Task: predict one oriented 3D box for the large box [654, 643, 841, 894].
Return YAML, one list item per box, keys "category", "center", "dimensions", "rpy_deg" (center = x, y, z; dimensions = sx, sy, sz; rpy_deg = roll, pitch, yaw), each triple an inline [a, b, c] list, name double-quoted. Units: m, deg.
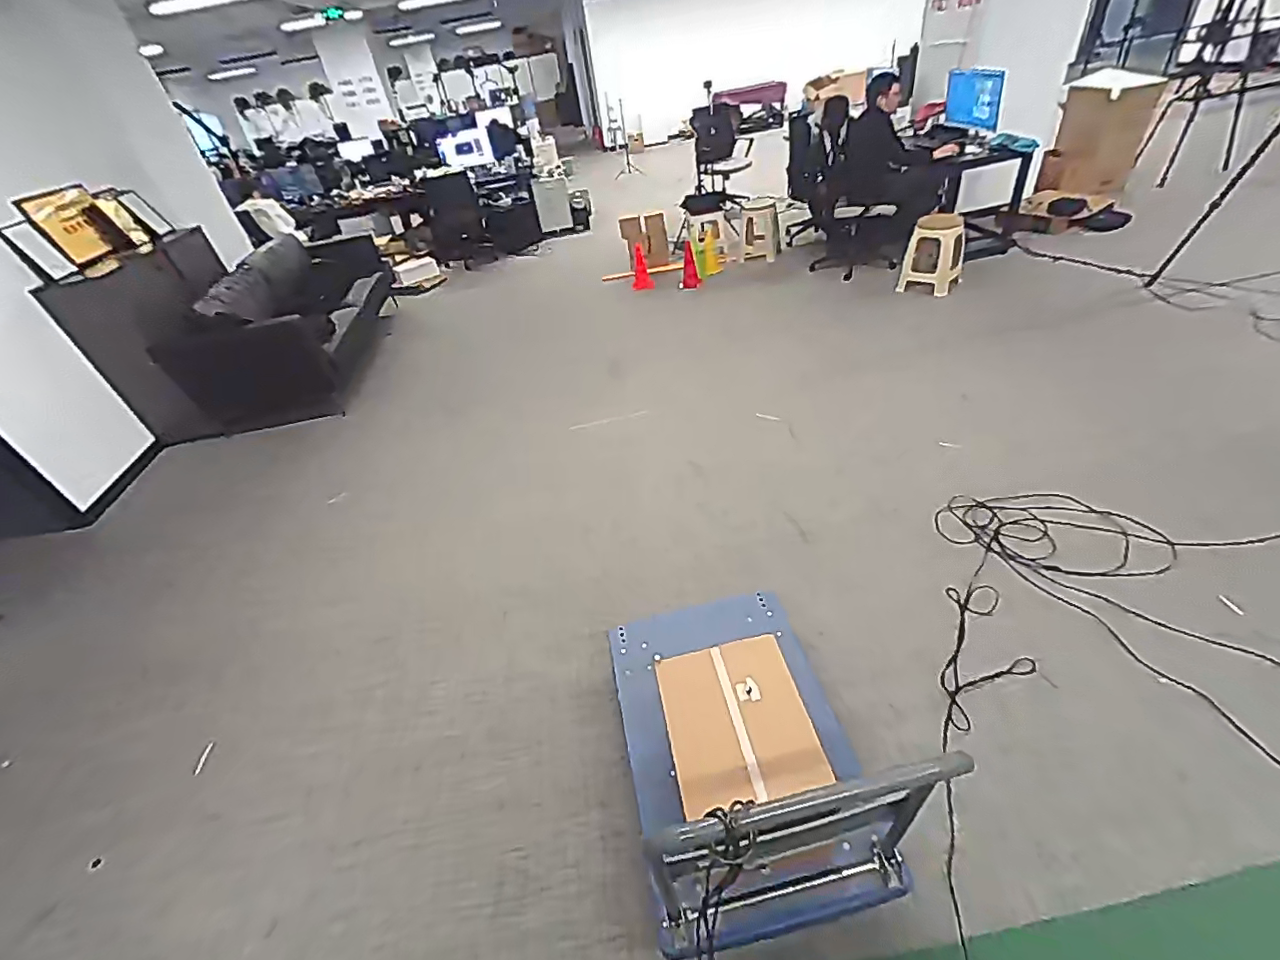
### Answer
- category: "large box"
  center: [0.240, 0.677, 1.297]
  dimensions: [0.320, 0.320, 0.408]
  rpy_deg: [-12, 37, -2]
